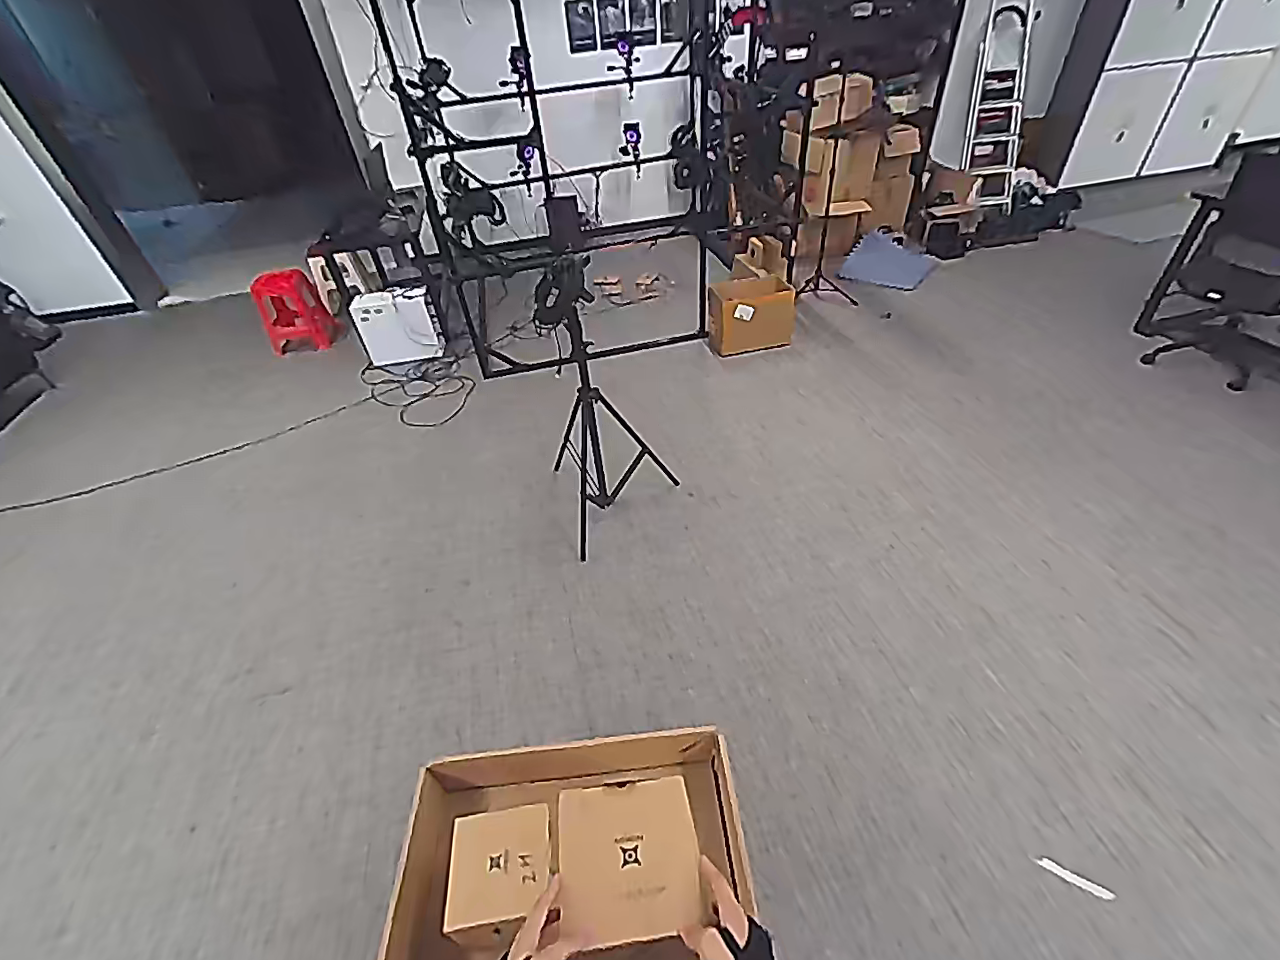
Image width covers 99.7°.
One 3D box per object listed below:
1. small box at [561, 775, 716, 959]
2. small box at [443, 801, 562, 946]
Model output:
[{"bbox_3d":[-0.014,0.504,0.668,0.168,0.176,0.179,-3,27,-8],"label":"small box"},{"bbox_3d":[-0.235,0.715,0.981,0.179,0.176,0.168,-8,41,-3],"label":"small box"}]
